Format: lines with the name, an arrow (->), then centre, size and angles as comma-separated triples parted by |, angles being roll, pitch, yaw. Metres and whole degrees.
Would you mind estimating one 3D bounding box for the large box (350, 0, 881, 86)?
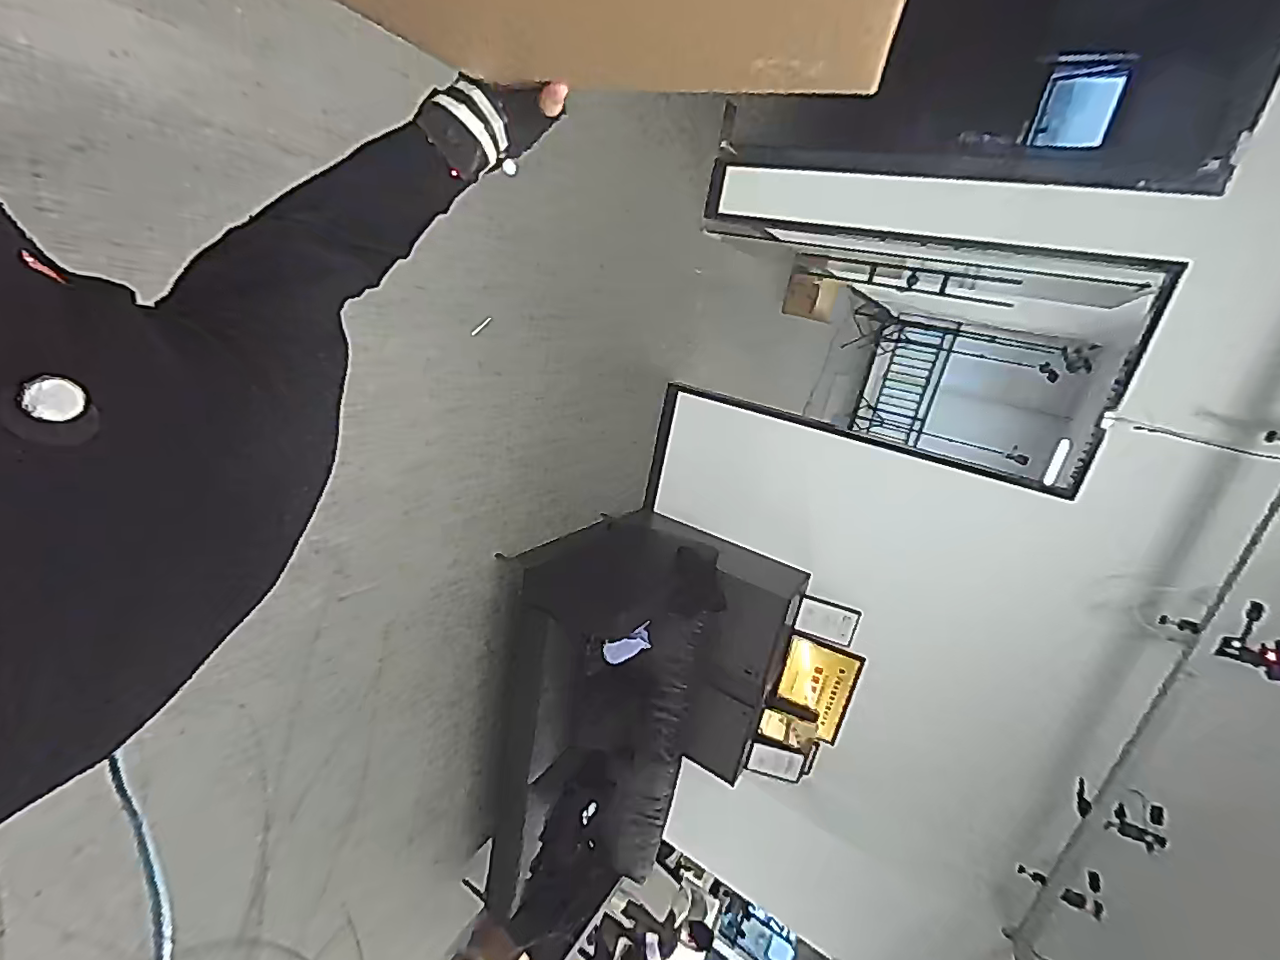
large box -> -0.027, -0.384, 0.202 | 0.408, 0.320, 0.320 | -54, 153, -63
